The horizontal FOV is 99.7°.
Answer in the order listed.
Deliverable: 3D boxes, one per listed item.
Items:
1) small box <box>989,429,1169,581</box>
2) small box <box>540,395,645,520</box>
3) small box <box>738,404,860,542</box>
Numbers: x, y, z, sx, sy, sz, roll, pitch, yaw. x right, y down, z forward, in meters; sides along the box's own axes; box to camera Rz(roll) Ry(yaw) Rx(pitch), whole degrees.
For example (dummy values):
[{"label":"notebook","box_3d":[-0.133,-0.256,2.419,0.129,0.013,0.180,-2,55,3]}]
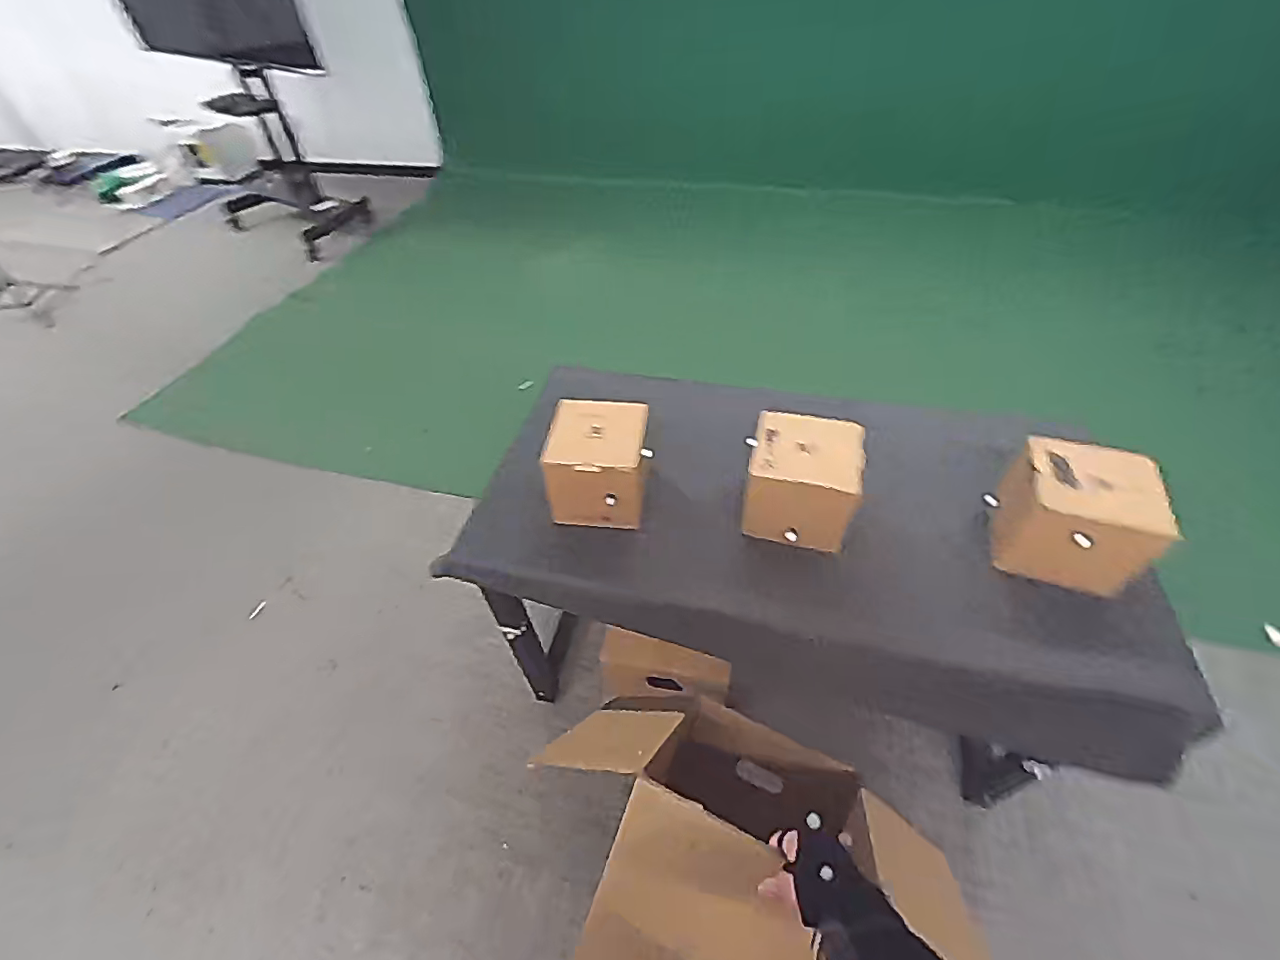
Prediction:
[{"label":"small box","box_3d":[0.704,0.043,0.898,0.179,0.176,0.168,14,51,16]},{"label":"small box","box_3d":[-0.080,-0.041,1.033,0.168,0.176,0.179,4,46,5]},{"label":"small box","box_3d":[0.284,-0.009,0.978,0.179,0.176,0.168,11,50,13]}]
